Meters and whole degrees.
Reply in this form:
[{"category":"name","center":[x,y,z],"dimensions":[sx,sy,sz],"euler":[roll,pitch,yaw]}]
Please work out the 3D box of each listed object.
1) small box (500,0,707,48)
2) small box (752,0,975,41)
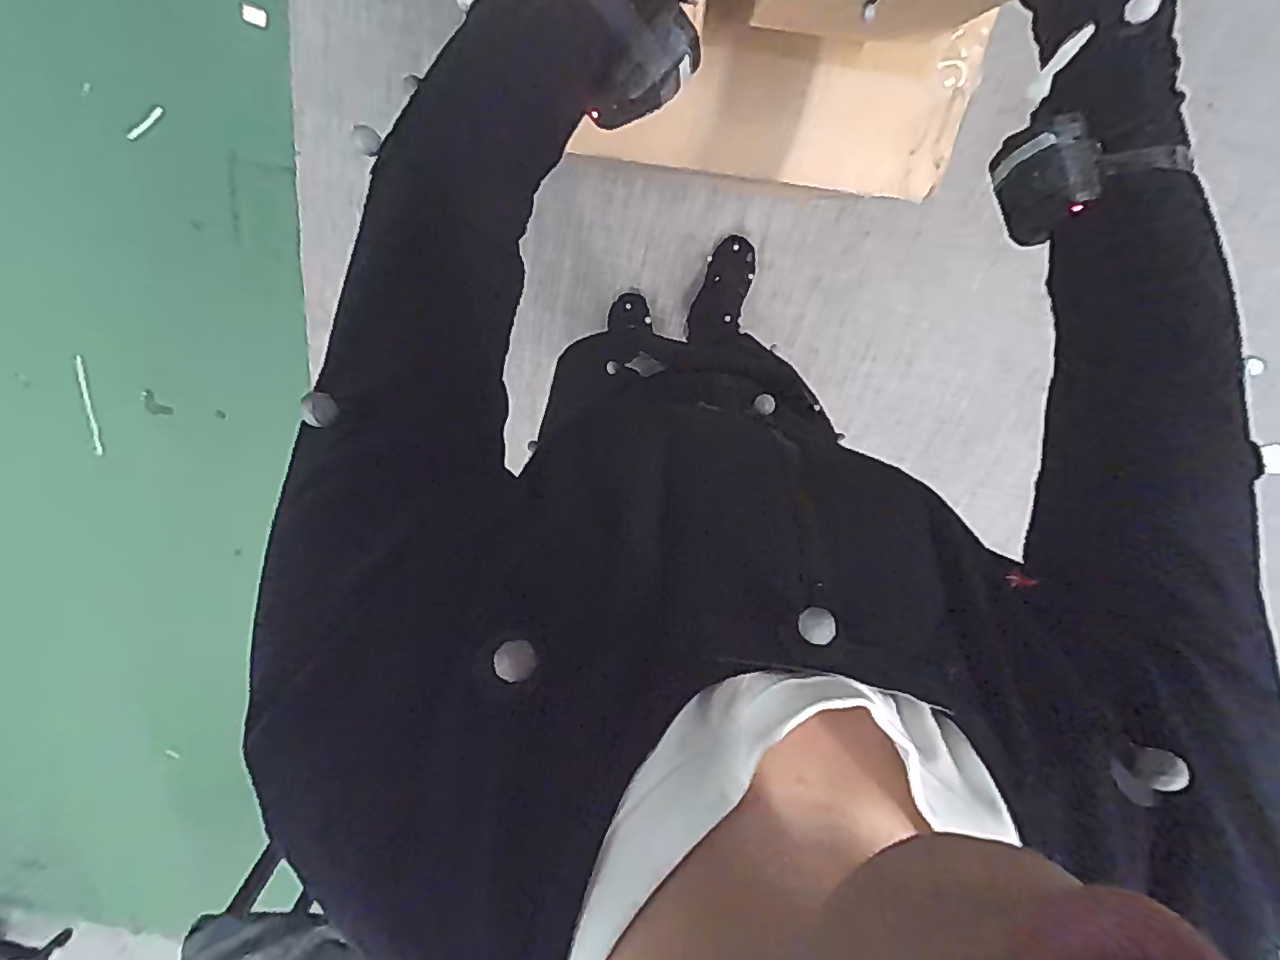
[{"category":"small box","center":[-0.018,-0.506,0.485],"dimensions":[0.179,0.176,0.168],"euler":[8,127,-1]},{"category":"small box","center":[0.196,-0.473,0.426],"dimensions":[0.179,0.176,0.168],"euler":[6,119,-2]}]
